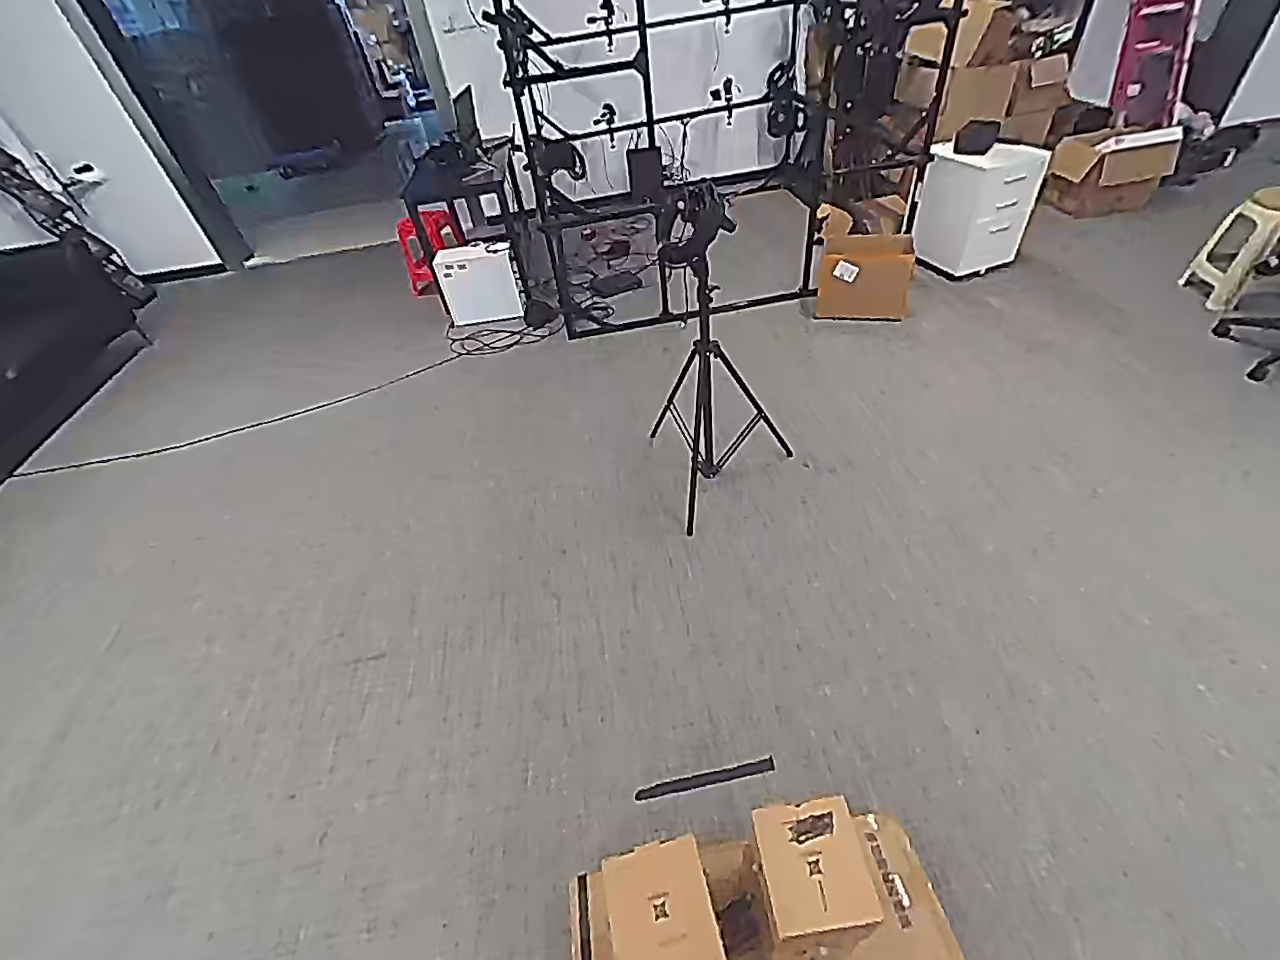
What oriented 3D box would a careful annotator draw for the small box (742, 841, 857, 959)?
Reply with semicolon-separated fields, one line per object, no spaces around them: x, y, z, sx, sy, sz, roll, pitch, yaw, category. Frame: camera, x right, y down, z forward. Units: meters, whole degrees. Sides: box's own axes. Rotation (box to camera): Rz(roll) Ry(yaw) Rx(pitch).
0.298;0.804;1.040;0.168;0.176;0.179;-12;42;-2;small box

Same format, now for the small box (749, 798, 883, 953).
0.288;0.680;0.931;0.168;0.176;0.179;-9;42;0;small box

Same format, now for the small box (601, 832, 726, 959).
0.038;0.736;0.912;0.168;0.176;0.179;-14;43;-5;small box
